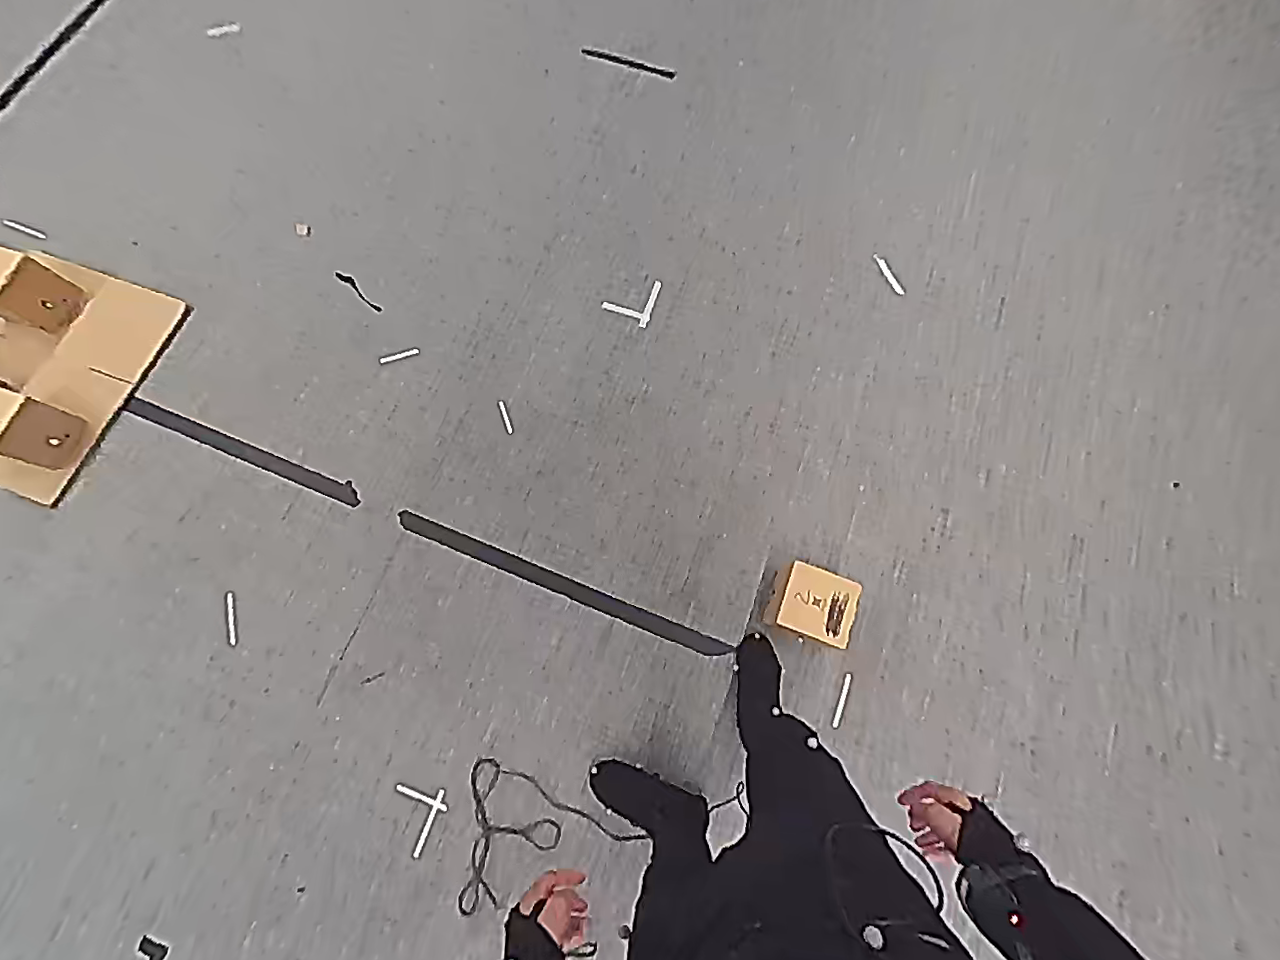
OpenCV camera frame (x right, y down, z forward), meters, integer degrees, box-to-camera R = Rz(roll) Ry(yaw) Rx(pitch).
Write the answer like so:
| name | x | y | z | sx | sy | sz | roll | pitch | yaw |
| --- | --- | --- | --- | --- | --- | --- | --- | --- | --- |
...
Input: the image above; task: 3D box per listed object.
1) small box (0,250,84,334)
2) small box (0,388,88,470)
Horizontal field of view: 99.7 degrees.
| name | x | y | z | sx | sy | sz | roll | pitch | yaw |
| --- | --- | --- | --- | --- | --- | --- | --- | --- | --- |
| small box | -1.854 | -0.562 | 1.614 | 0.179 | 0.176 | 0.168 | 16 | 74 | 4 |
| small box | -1.713 | -0.143 | 1.489 | 0.179 | 0.176 | 0.168 | 19 | 75 | 4 |
